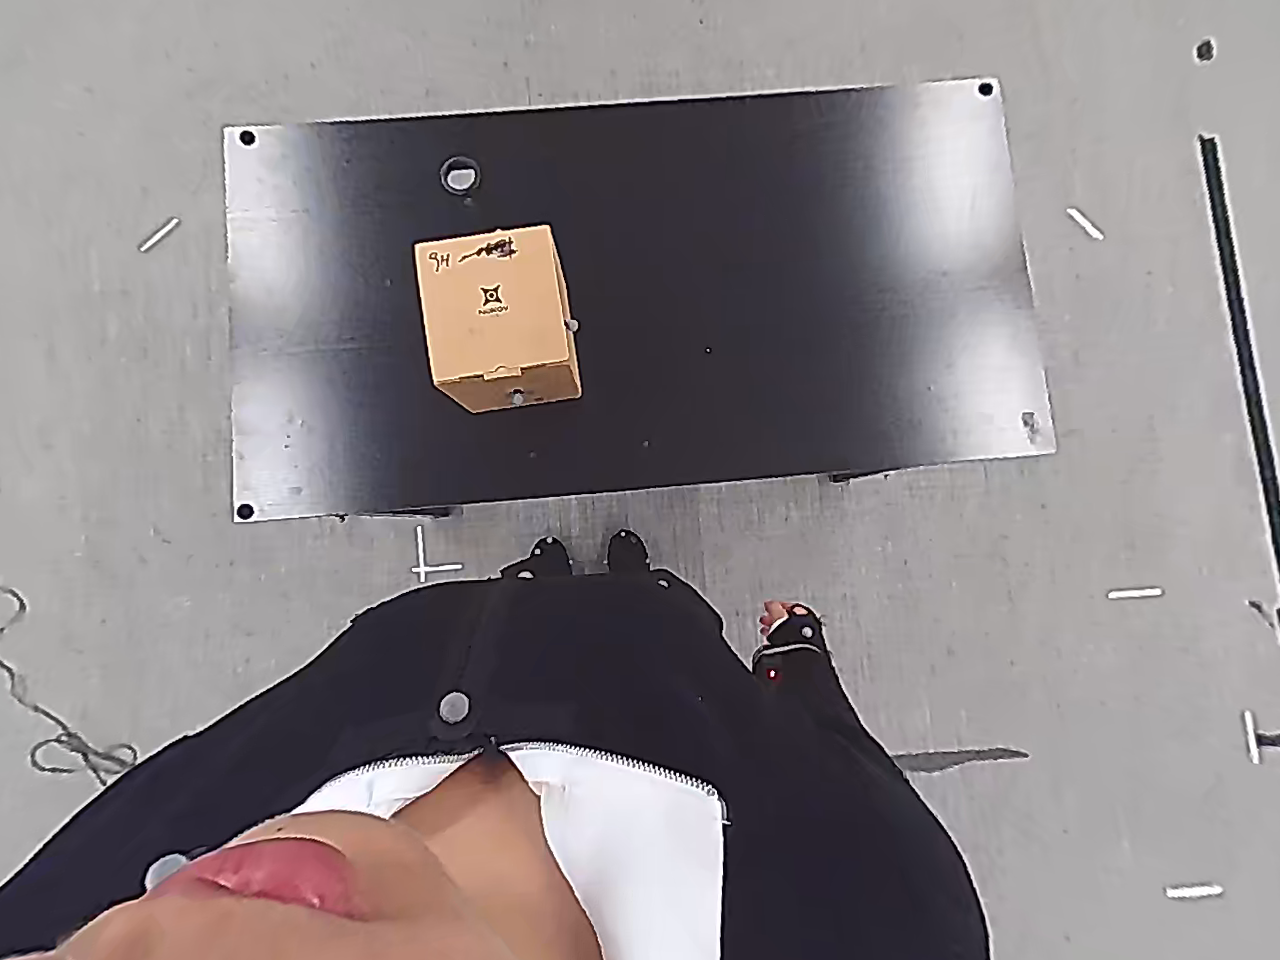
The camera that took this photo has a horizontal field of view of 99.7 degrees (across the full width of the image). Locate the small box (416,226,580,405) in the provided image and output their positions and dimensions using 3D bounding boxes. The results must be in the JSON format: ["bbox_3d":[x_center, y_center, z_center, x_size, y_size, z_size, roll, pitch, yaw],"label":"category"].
[{"bbox_3d":[-0.179,-0.206,0.729,0.168,0.176,0.179,-9,85,-2],"label":"small box"}]
